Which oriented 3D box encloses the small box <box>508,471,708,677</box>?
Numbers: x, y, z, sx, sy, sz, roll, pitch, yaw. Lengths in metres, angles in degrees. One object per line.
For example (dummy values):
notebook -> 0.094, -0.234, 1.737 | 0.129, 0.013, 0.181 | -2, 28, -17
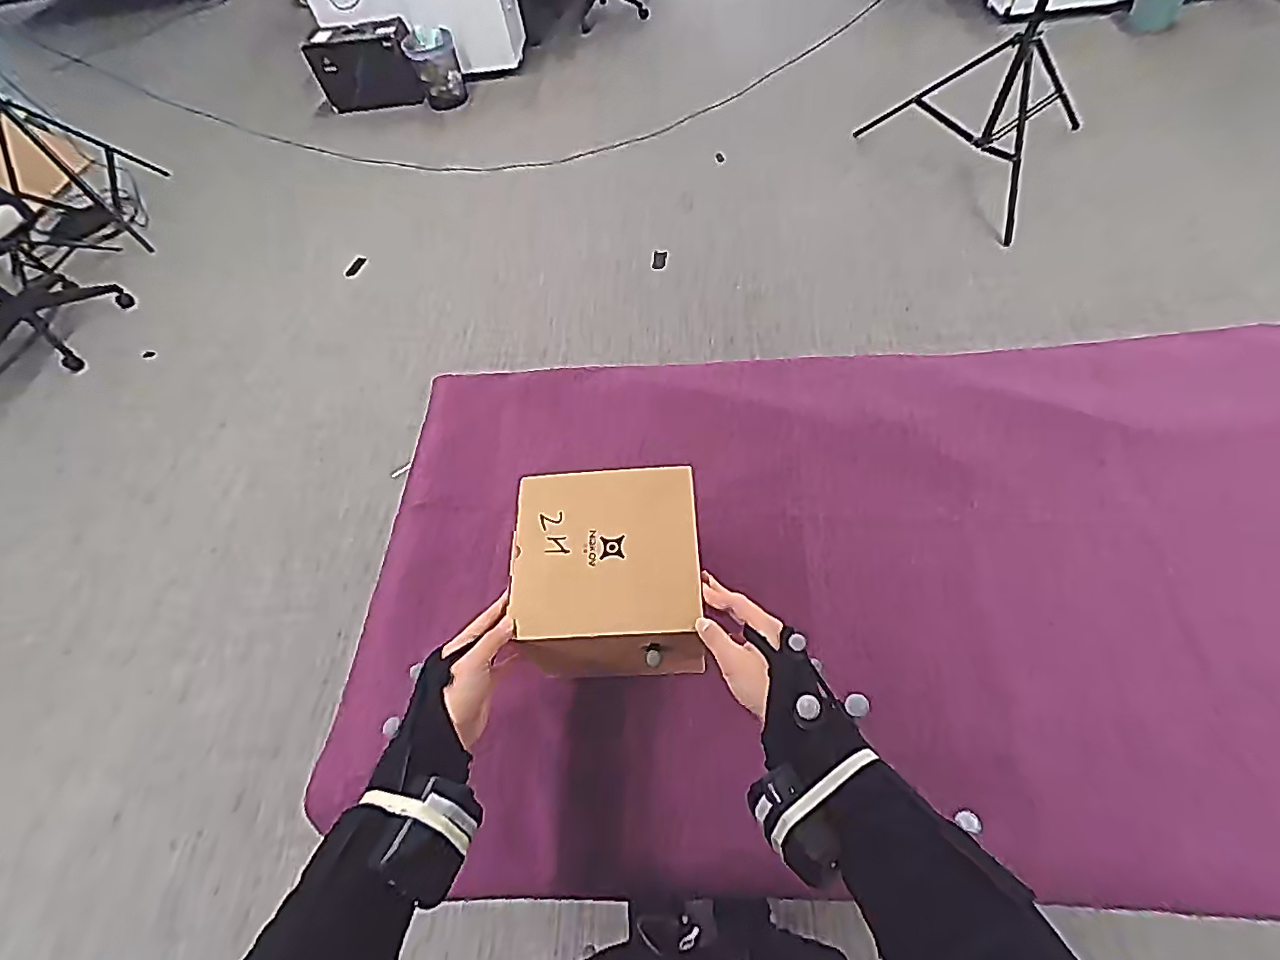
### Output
small box -> -0.023, 0.106, 0.572 | 0.179, 0.176, 0.168 | -4, 58, 4
